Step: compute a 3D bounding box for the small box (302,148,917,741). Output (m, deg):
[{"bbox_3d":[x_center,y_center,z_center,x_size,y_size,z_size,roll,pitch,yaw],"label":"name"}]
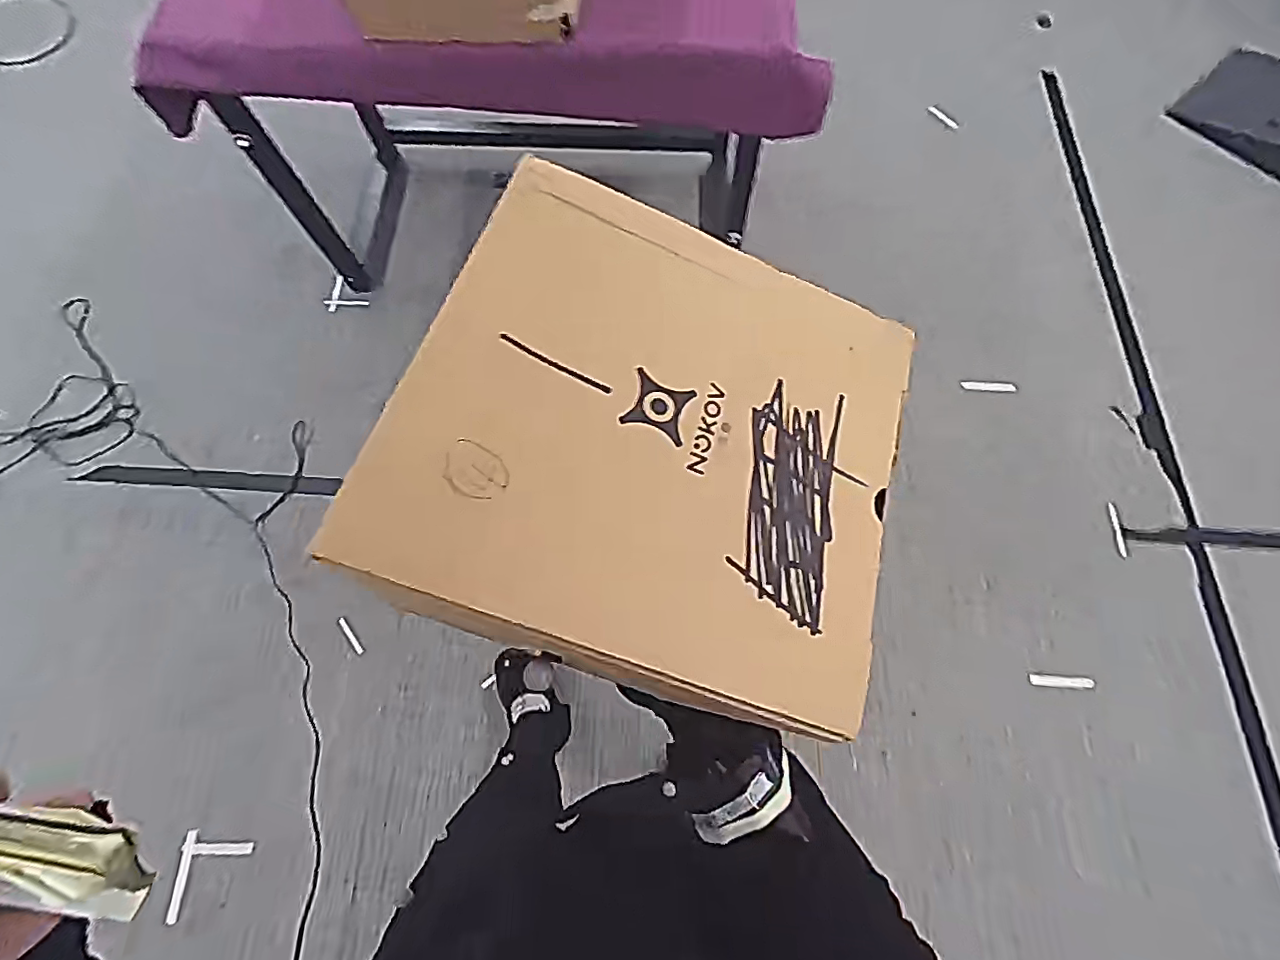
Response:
[{"bbox_3d":[-0.009,0.002,0.258,0.179,0.176,0.168,22,68,-9],"label":"small box"}]
